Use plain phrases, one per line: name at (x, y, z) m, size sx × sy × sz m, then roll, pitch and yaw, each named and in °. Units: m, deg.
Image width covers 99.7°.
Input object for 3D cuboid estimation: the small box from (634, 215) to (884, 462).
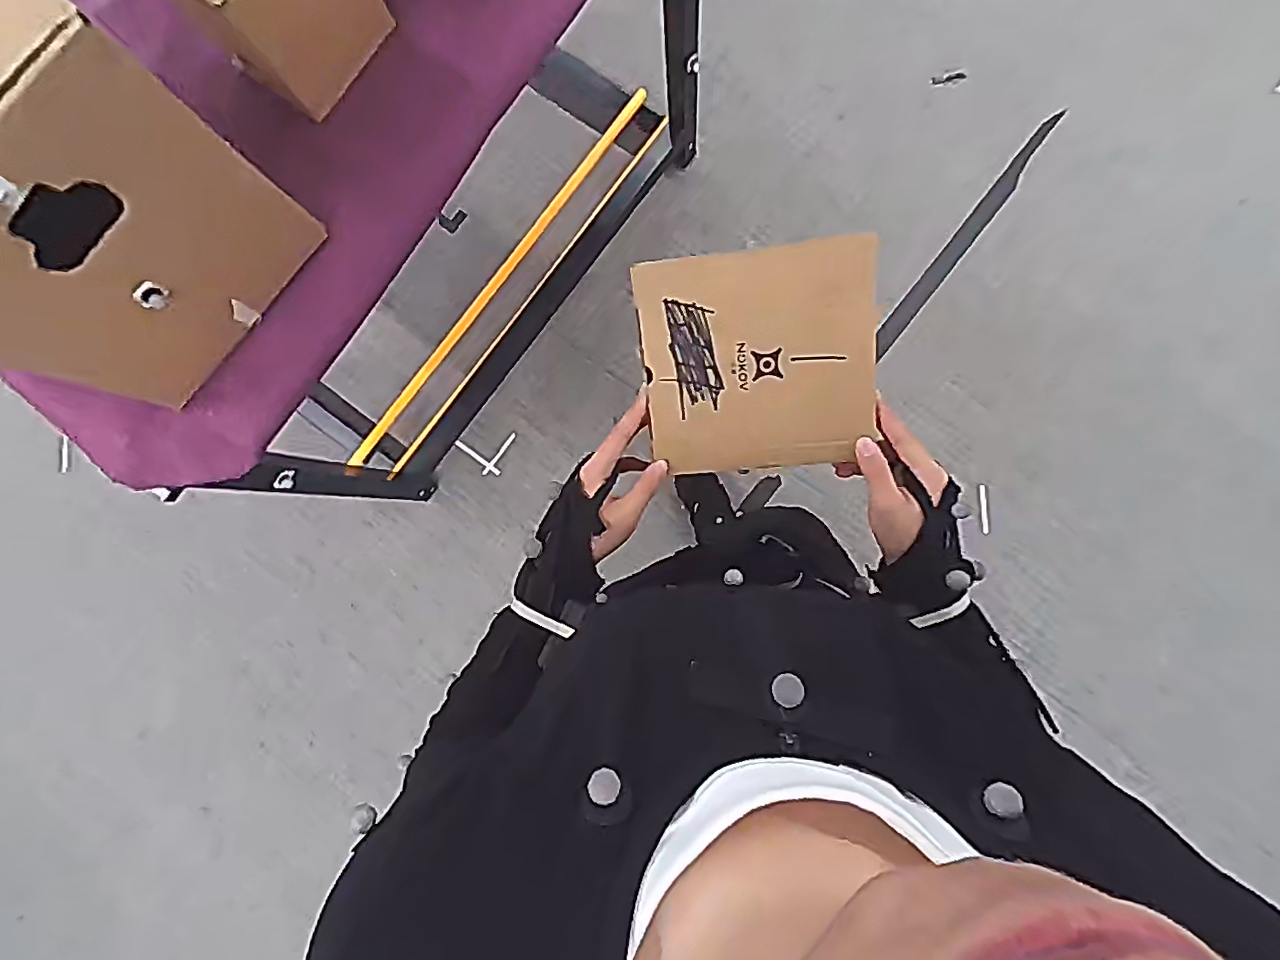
small box at (0.099, -0.118, 0.476) m, size 0.179 × 0.176 × 0.168 m, roll -5°, pitch 105°, yaw 8°
